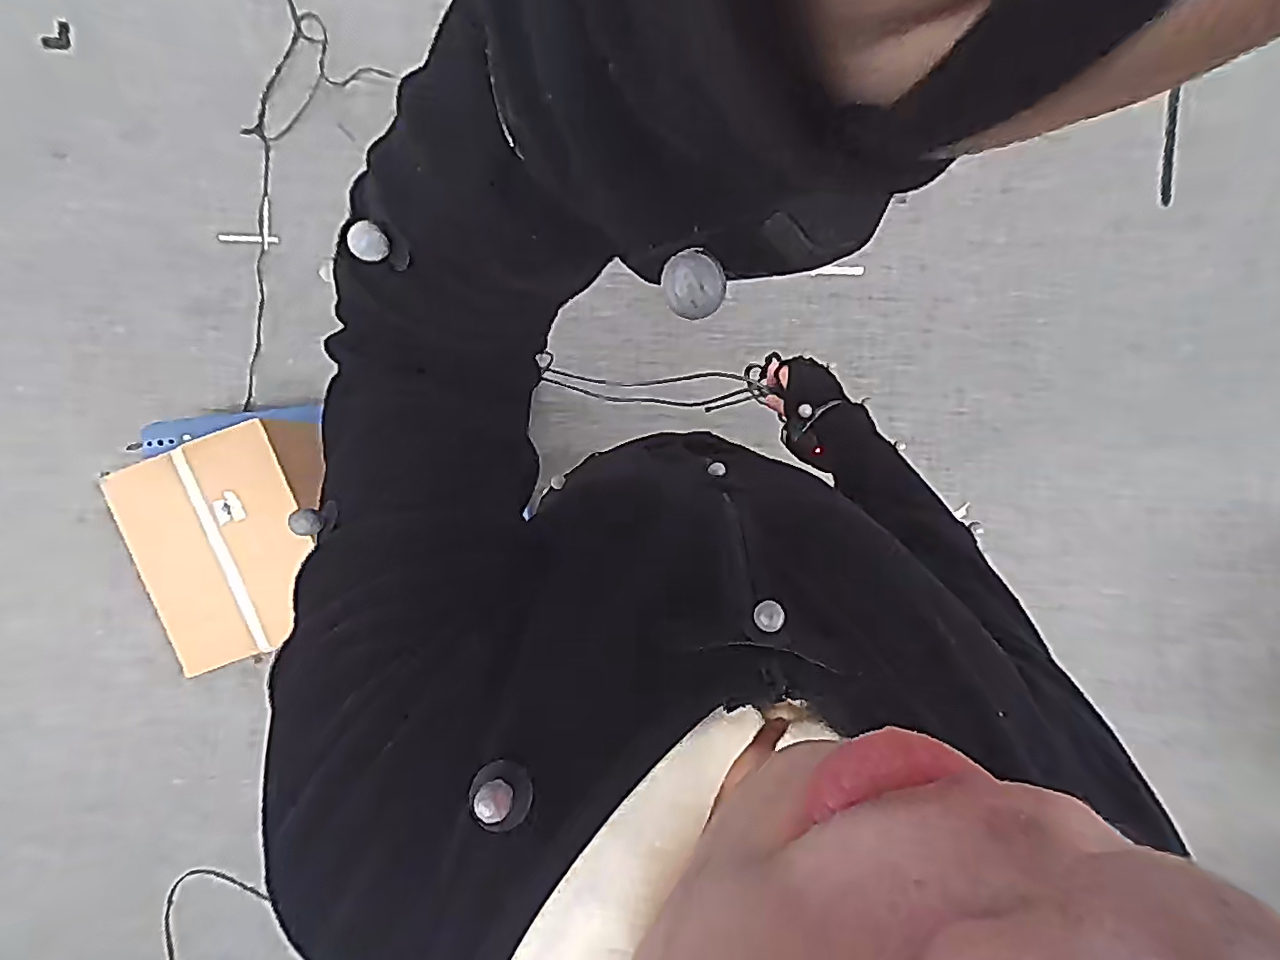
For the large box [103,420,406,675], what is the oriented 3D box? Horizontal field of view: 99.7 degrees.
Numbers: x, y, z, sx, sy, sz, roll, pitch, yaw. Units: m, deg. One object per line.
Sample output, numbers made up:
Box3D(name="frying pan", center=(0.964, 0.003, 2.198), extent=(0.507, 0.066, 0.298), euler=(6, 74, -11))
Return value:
Box3D(name="large box", center=(-0.767, 0.121, 1.142), extent=(0.320, 0.320, 0.408), euler=(-21, 93, -2))
